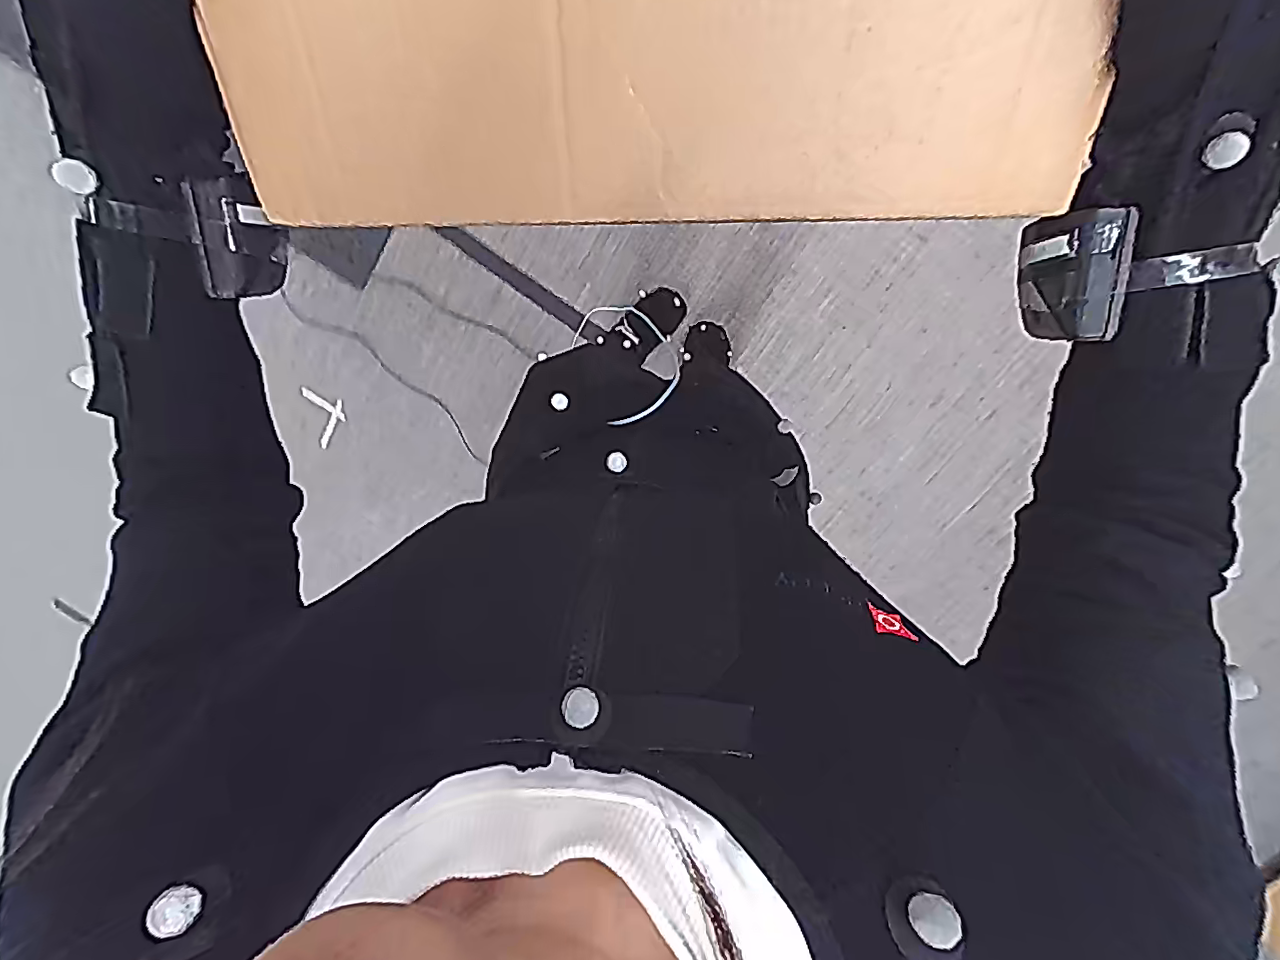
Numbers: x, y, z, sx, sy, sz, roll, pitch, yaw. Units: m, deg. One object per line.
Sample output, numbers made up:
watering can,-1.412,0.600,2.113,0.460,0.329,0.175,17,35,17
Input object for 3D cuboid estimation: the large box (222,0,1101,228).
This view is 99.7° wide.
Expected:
large box,0.007,-0.351,0.339,0.408,0.320,0.320,0,121,4

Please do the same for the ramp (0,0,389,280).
ramp,-0.982,-0.952,1.190,0.991,0.206,0.509,35,108,-6
